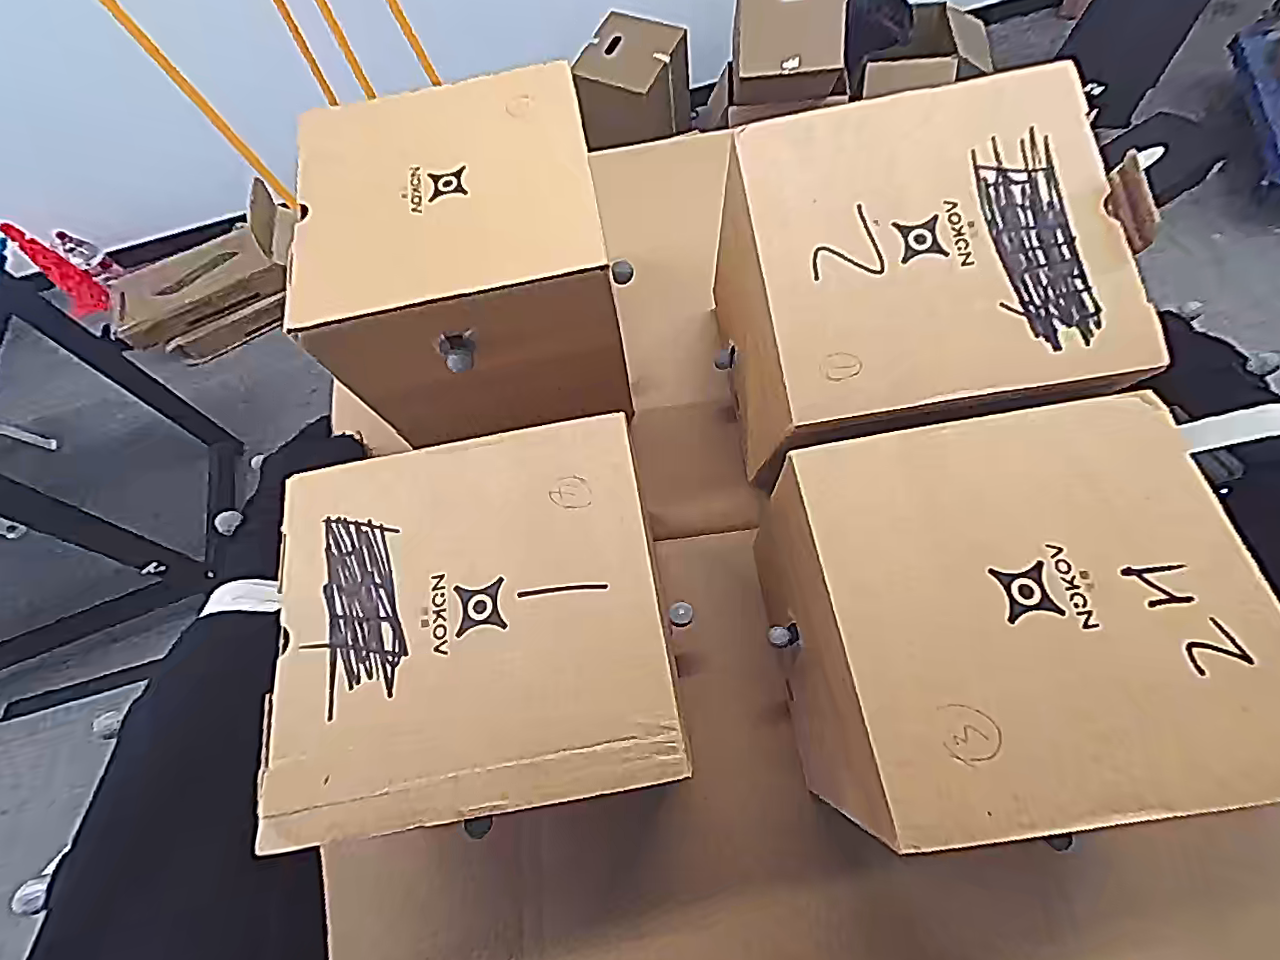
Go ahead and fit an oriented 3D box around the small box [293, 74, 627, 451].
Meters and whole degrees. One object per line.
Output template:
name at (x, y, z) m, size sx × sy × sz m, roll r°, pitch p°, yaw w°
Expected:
small box at (-0.108, -0.138, 0.391) m, size 0.179 × 0.176 × 0.168 m, roll -12°, pitch 69°, yaw 2°
